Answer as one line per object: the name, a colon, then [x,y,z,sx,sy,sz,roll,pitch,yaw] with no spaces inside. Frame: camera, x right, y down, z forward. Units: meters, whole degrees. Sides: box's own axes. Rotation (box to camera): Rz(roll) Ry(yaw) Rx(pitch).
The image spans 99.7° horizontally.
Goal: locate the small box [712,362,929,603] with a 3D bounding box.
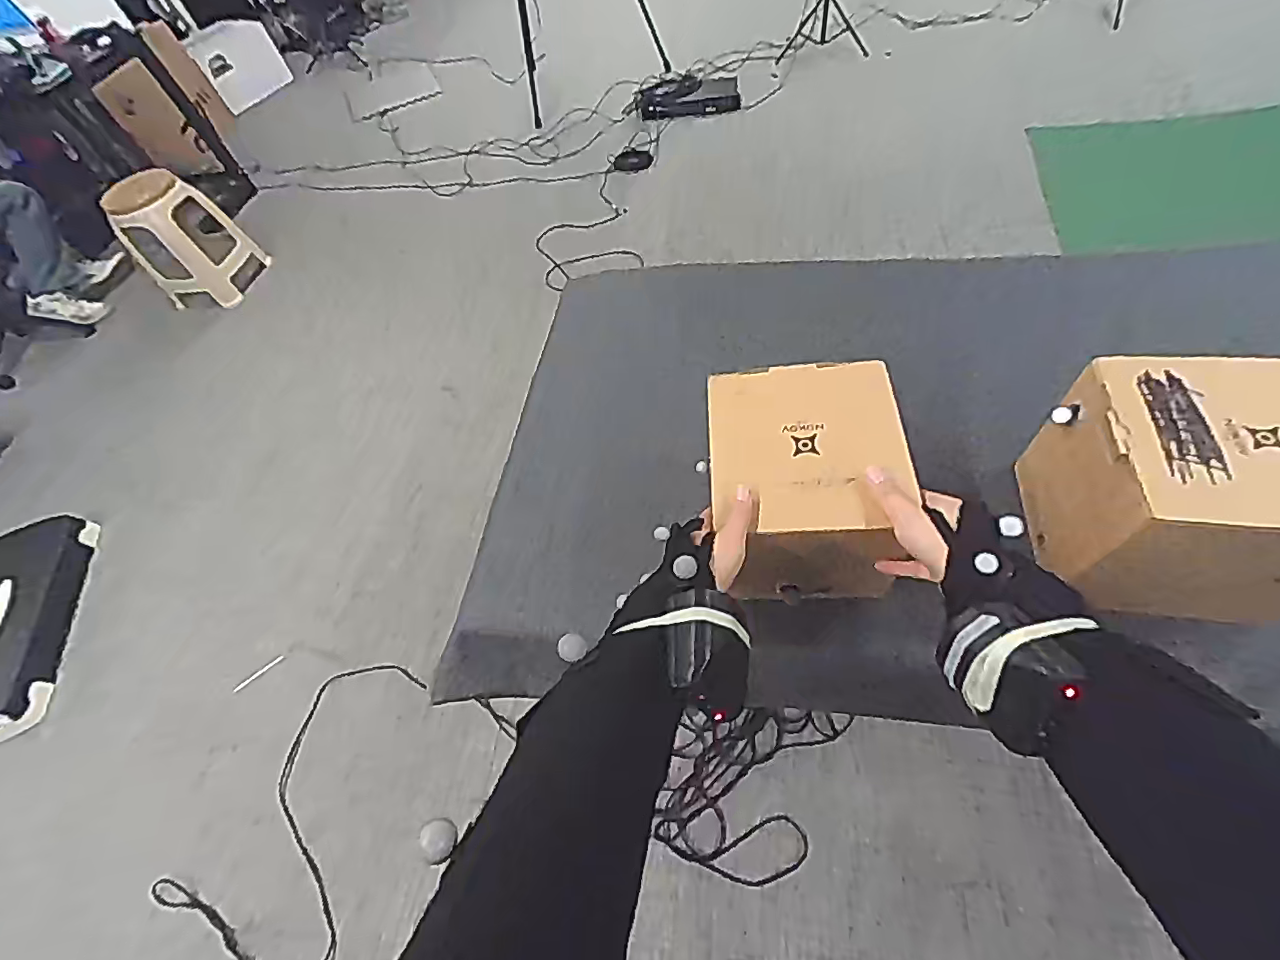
small box: [0.159,0.010,0.537,0.168,0.176,0.179,-4,59,10]
